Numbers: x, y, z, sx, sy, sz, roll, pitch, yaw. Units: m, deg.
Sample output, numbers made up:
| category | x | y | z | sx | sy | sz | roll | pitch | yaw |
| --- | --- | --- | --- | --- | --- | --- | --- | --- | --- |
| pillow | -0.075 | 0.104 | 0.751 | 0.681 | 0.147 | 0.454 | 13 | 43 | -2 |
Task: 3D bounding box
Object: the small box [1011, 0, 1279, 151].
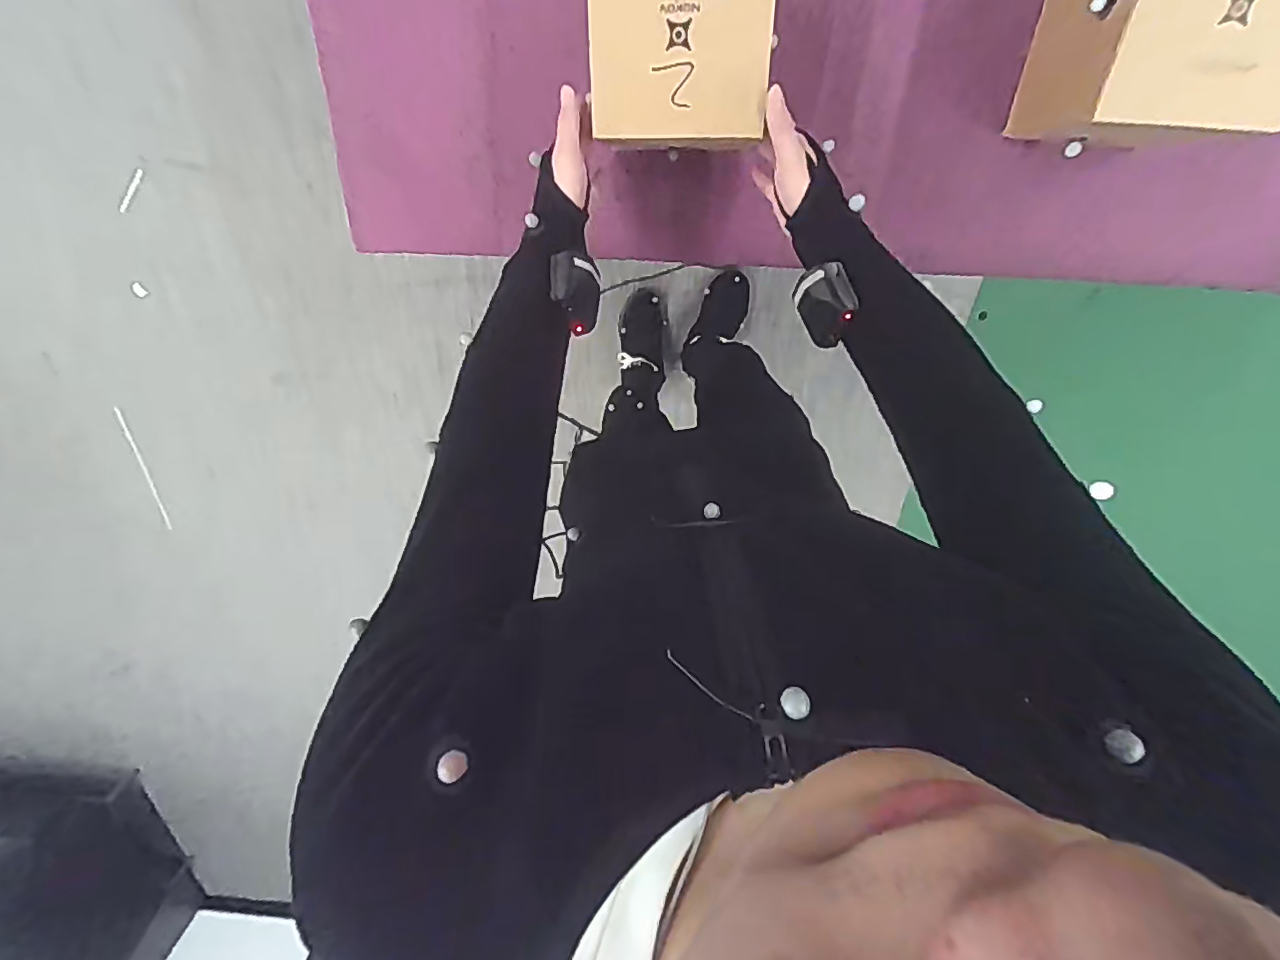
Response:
| category | x | y | z | sx | sy | sz | roll | pitch | yaw |
| --- | --- | --- | --- | --- | --- | --- | --- | --- | --- |
| small box | 0.497 | -0.426 | 0.510 | 0.168 | 0.176 | 0.179 | 7 | 118 | 3 |
